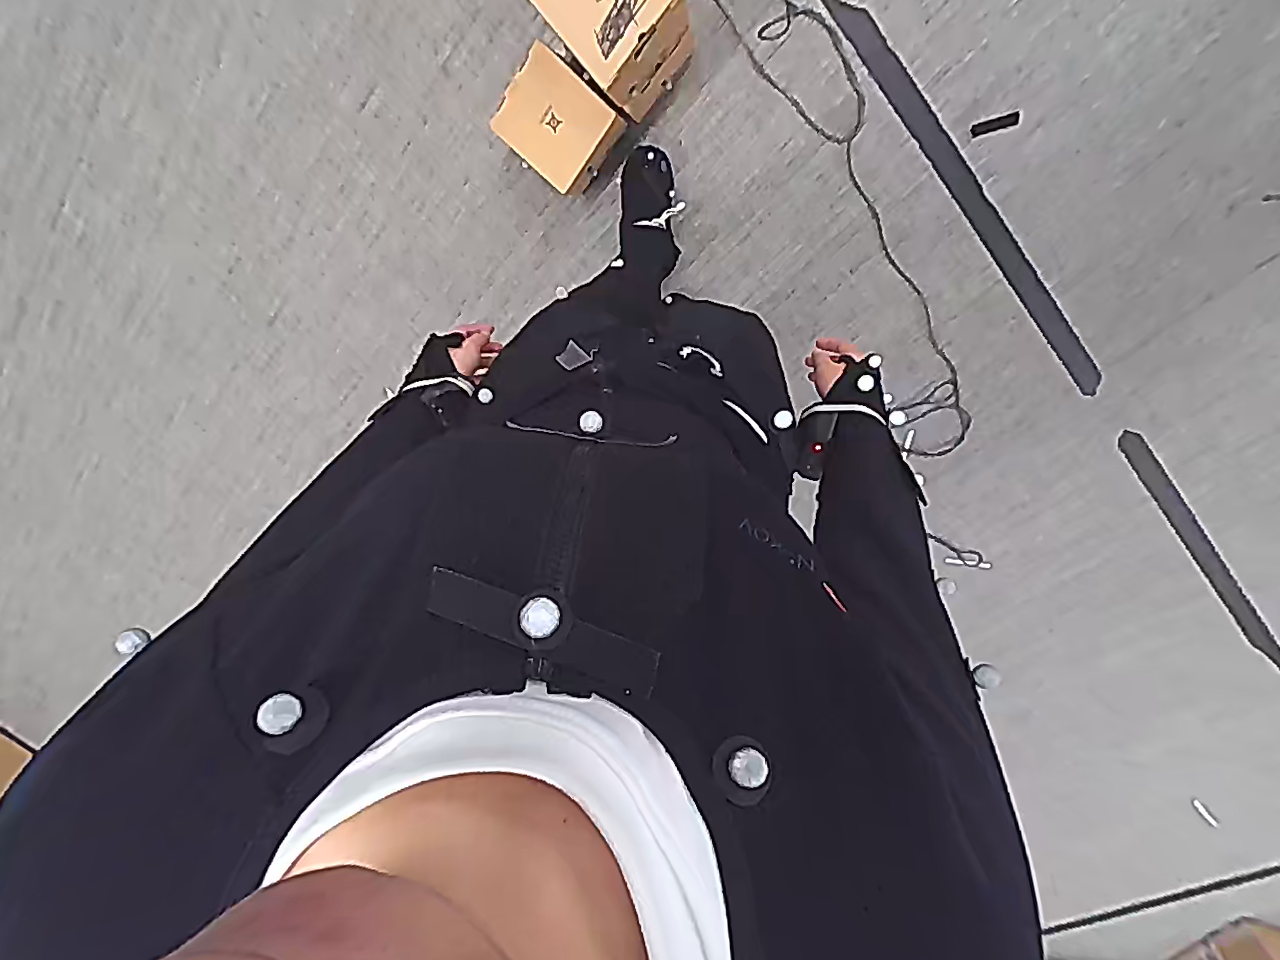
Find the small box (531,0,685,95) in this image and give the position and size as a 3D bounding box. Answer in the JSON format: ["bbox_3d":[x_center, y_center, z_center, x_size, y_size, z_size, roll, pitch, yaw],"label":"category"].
[{"bbox_3d":[-0.047,-0.711,0.799,0.168,0.176,0.179,-40,106,23],"label":"small box"}]
